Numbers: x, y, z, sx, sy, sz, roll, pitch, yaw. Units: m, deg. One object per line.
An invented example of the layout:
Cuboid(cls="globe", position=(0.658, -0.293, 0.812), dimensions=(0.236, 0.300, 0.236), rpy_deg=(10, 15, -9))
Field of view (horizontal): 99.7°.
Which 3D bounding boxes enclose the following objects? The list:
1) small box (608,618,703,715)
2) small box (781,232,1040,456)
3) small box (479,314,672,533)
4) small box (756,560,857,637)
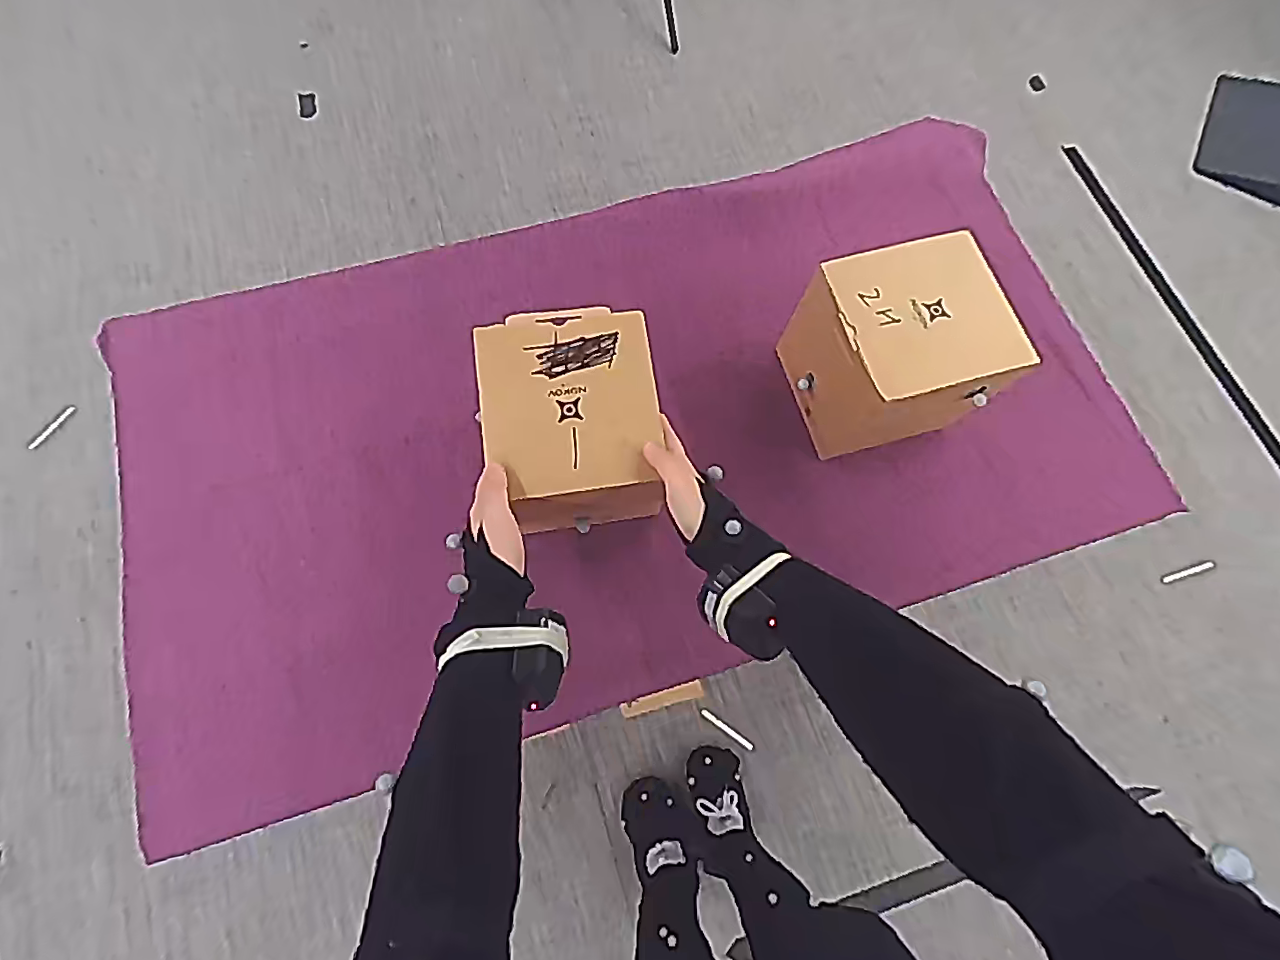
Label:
Cuboid(cls="small box", position=(0.027, 0.408, 1.208), dimensions=(0.179, 0.176, 0.168), rpy_deg=(-12, 75, -6))
Cuboid(cls="small box", position=(0.287, -0.144, 0.617), dimensions=(0.179, 0.176, 0.168), rpy_deg=(-15, 74, -6))
Cuboid(cls="small box", position=(-0.067, -0.050, 0.576), dimensions=(0.168, 0.176, 0.179), rpy_deg=(-8, 76, -4))
Cuboid(cls="small box", position=(0.380, 0.279, 1.259), dimensions=(0.179, 0.176, 0.168), rpy_deg=(0, 74, -1))
